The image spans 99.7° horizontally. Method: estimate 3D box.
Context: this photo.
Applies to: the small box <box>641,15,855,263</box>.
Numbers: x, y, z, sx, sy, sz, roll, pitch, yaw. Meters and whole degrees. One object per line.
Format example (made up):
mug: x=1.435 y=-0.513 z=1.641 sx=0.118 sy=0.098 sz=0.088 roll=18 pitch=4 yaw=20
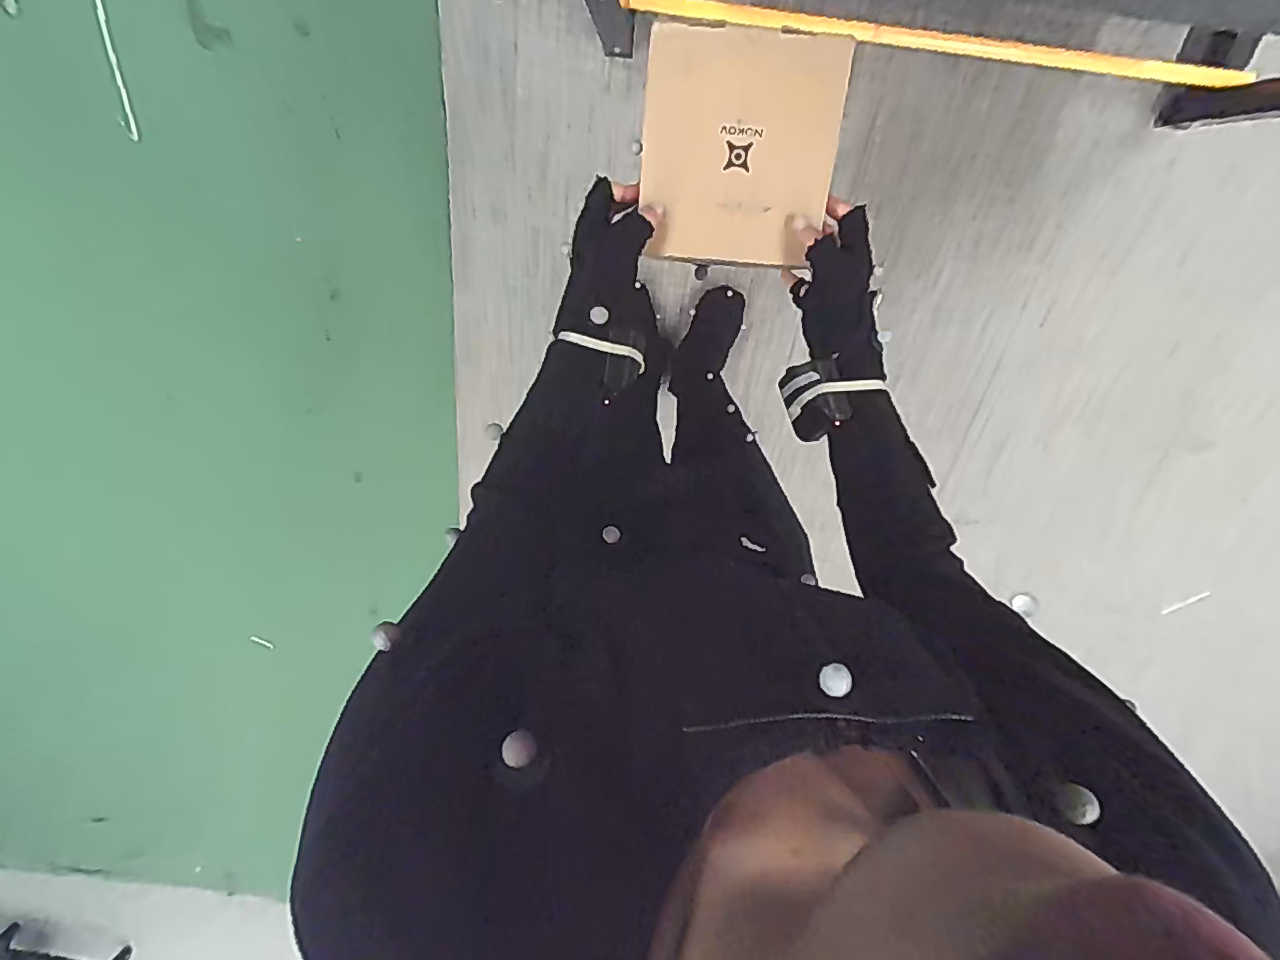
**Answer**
small box: x=0.092 y=-0.319 z=0.543 sx=0.168 sy=0.176 sz=0.179 roll=5 pitch=112 yaw=2
